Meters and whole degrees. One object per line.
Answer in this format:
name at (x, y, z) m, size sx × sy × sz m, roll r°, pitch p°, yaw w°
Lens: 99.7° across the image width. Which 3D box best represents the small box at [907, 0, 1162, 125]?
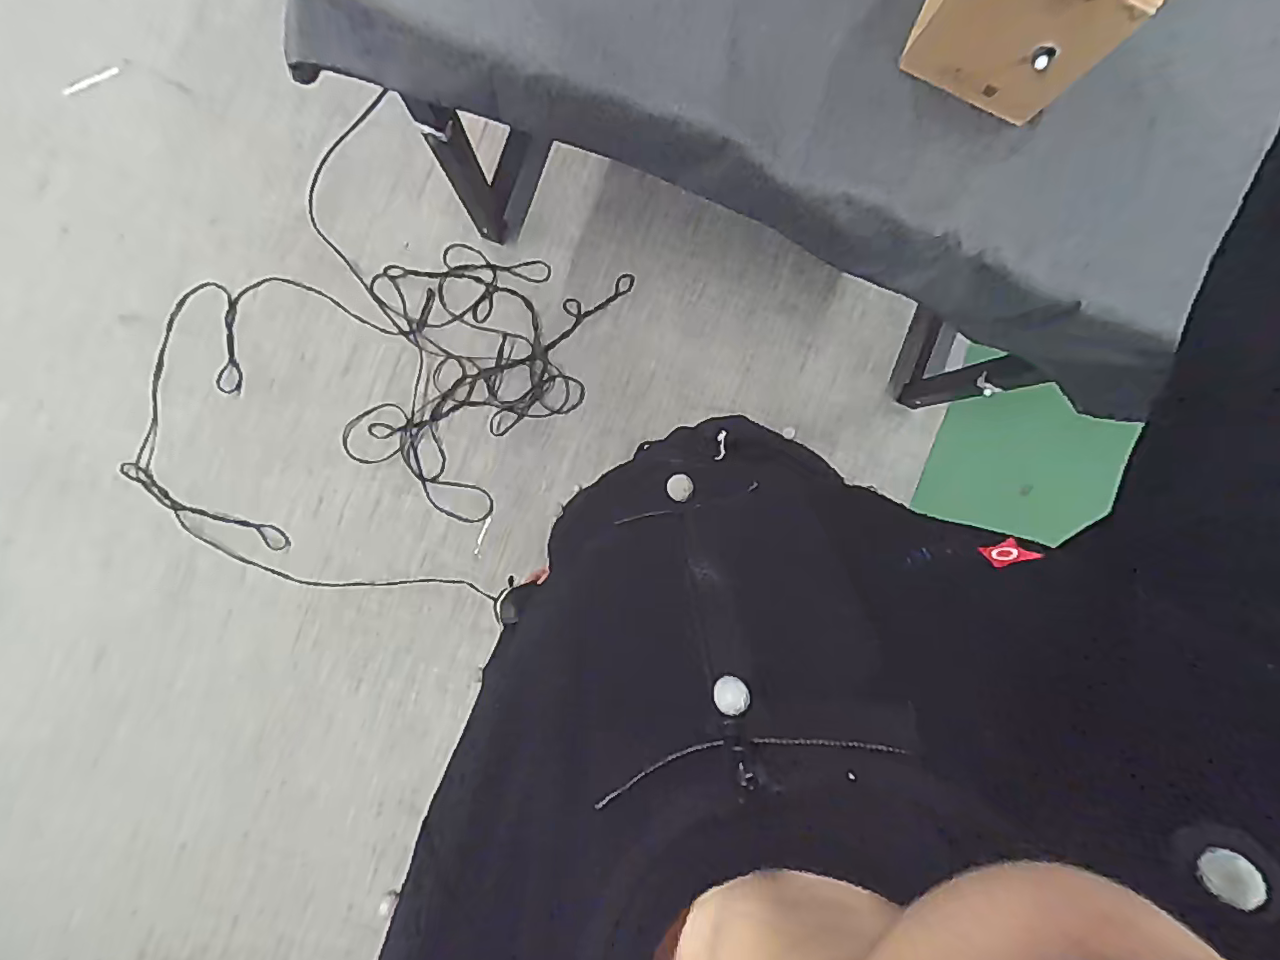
small box at (0.411, -0.520, 0.556) m, size 0.168 × 0.176 × 0.179 m, roll 23°, pitch 88°, yaw -4°
